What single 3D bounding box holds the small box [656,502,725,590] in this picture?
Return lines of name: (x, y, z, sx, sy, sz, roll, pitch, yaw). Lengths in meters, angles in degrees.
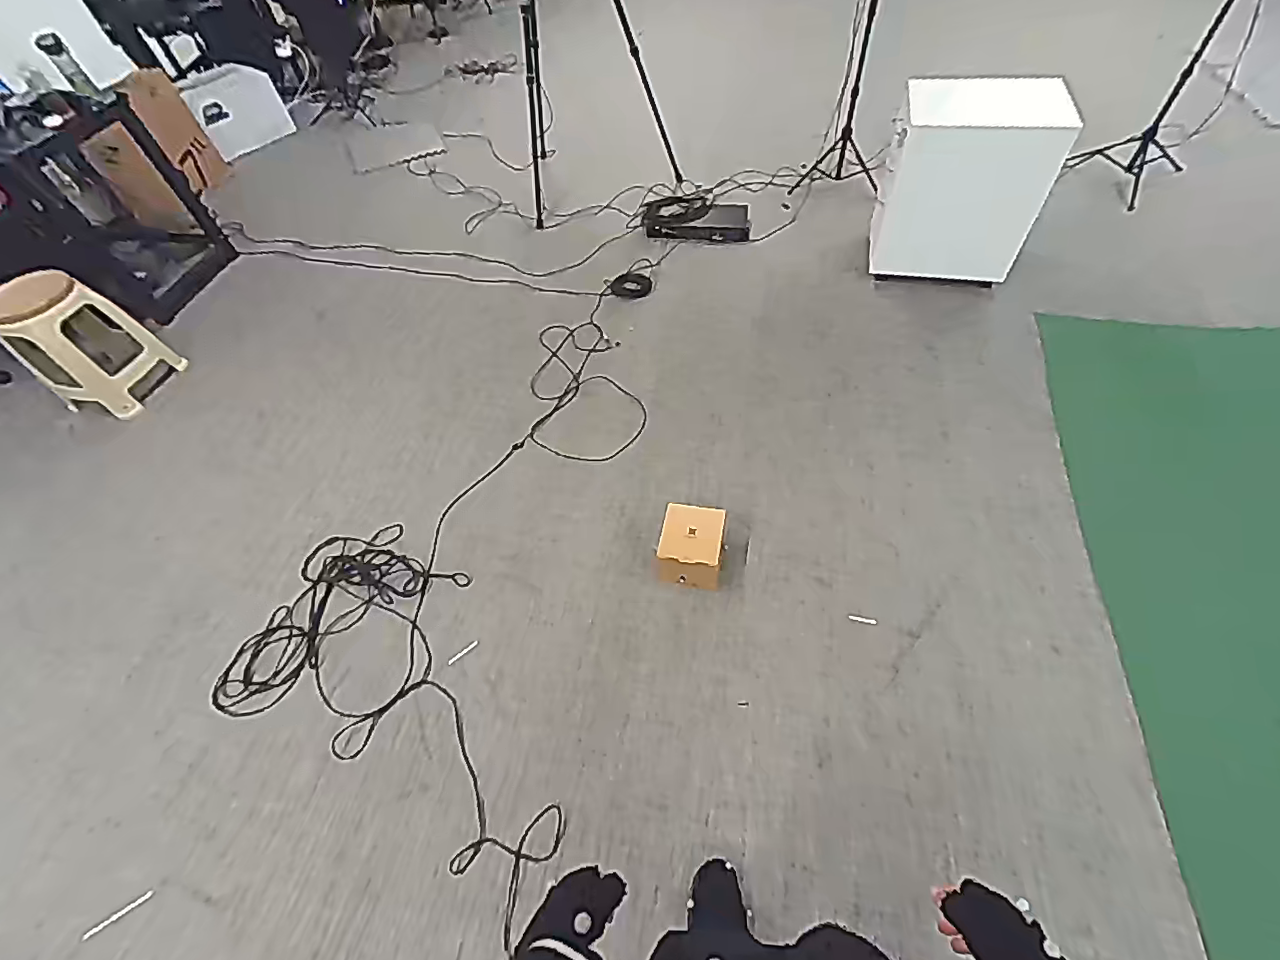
small box: (0.147, 0.189, 1.543, 0.168, 0.176, 0.179, 7, 55, 12)
